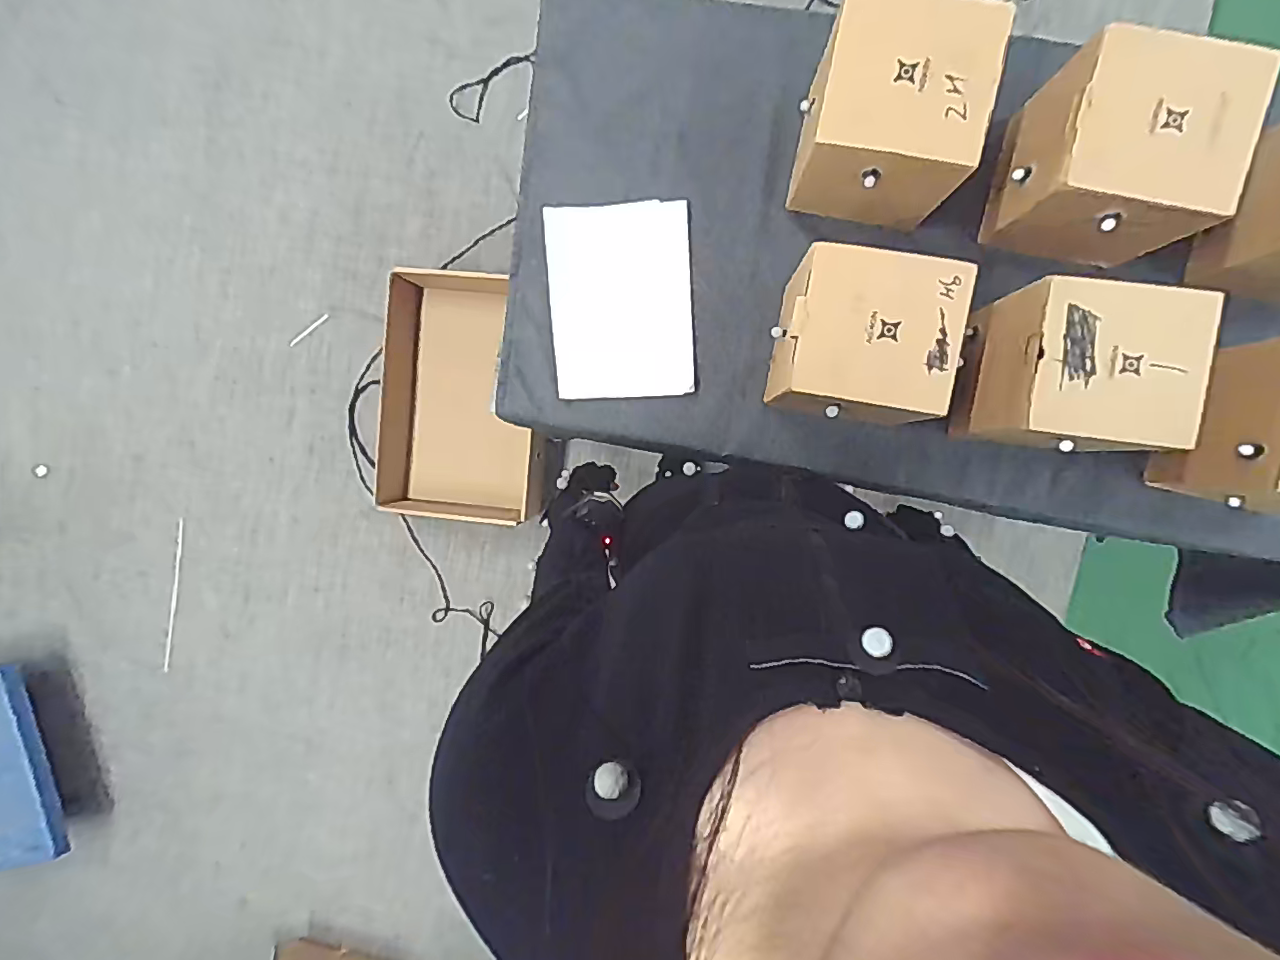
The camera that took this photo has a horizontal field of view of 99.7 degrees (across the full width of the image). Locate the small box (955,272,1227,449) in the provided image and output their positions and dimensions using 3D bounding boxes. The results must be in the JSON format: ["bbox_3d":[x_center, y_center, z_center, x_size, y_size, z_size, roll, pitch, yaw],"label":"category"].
[{"bbox_3d":[0.506,-0.128,0.638,0.179,0.176,0.168,7,93,3],"label":"small box"}]

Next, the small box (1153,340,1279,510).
[{"bbox_3d":[0.759,-0.061,0.624,0.168,0.176,0.179,13,93,4],"label":"small box"}]
